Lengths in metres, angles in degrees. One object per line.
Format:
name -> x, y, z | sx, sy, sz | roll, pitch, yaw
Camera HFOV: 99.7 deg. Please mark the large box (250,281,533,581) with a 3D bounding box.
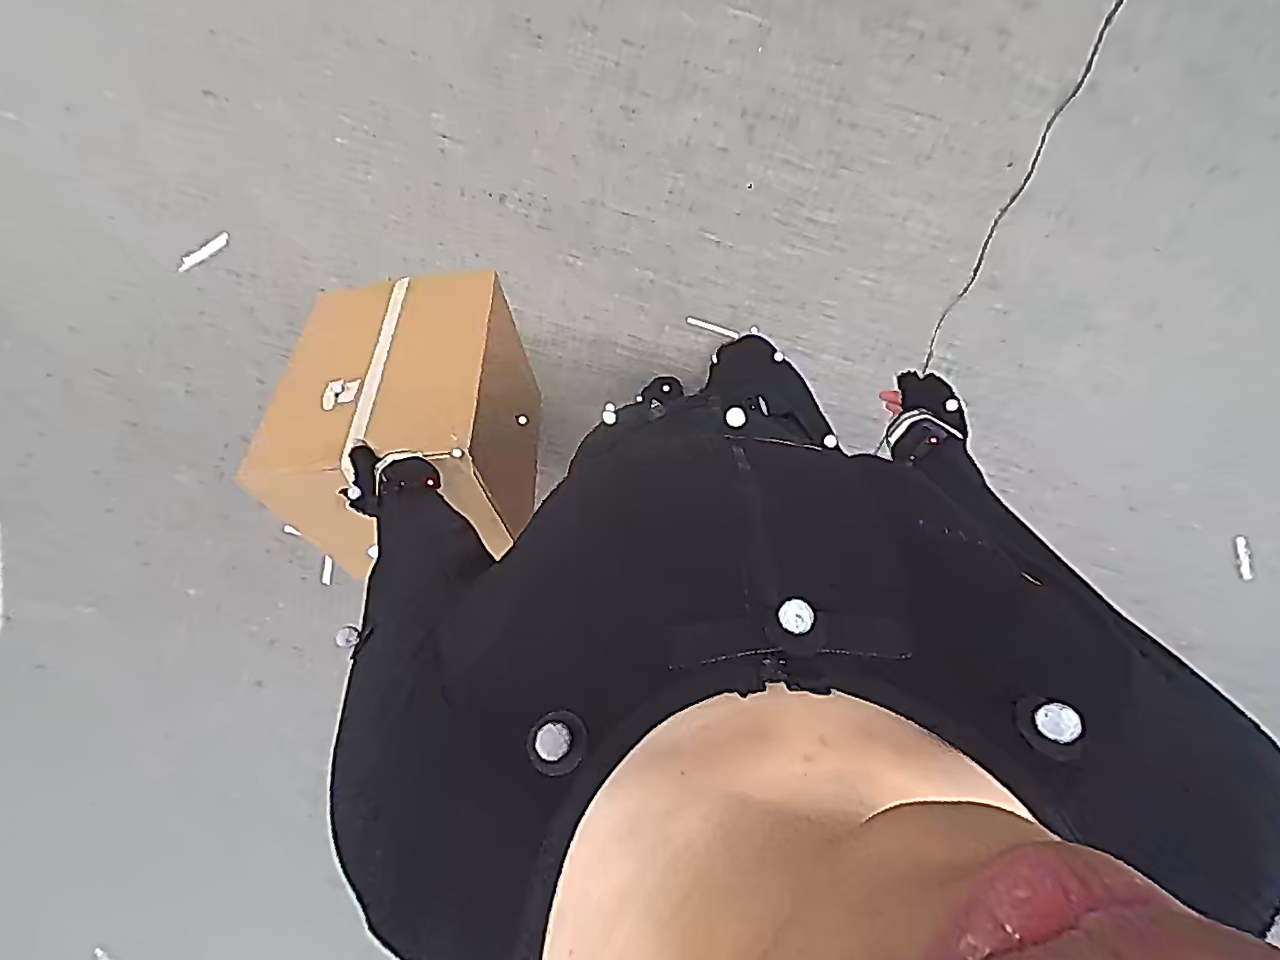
large box -> -0.376, -0.082, 0.948 | 0.320, 0.408, 0.320 | -8, 145, 3
